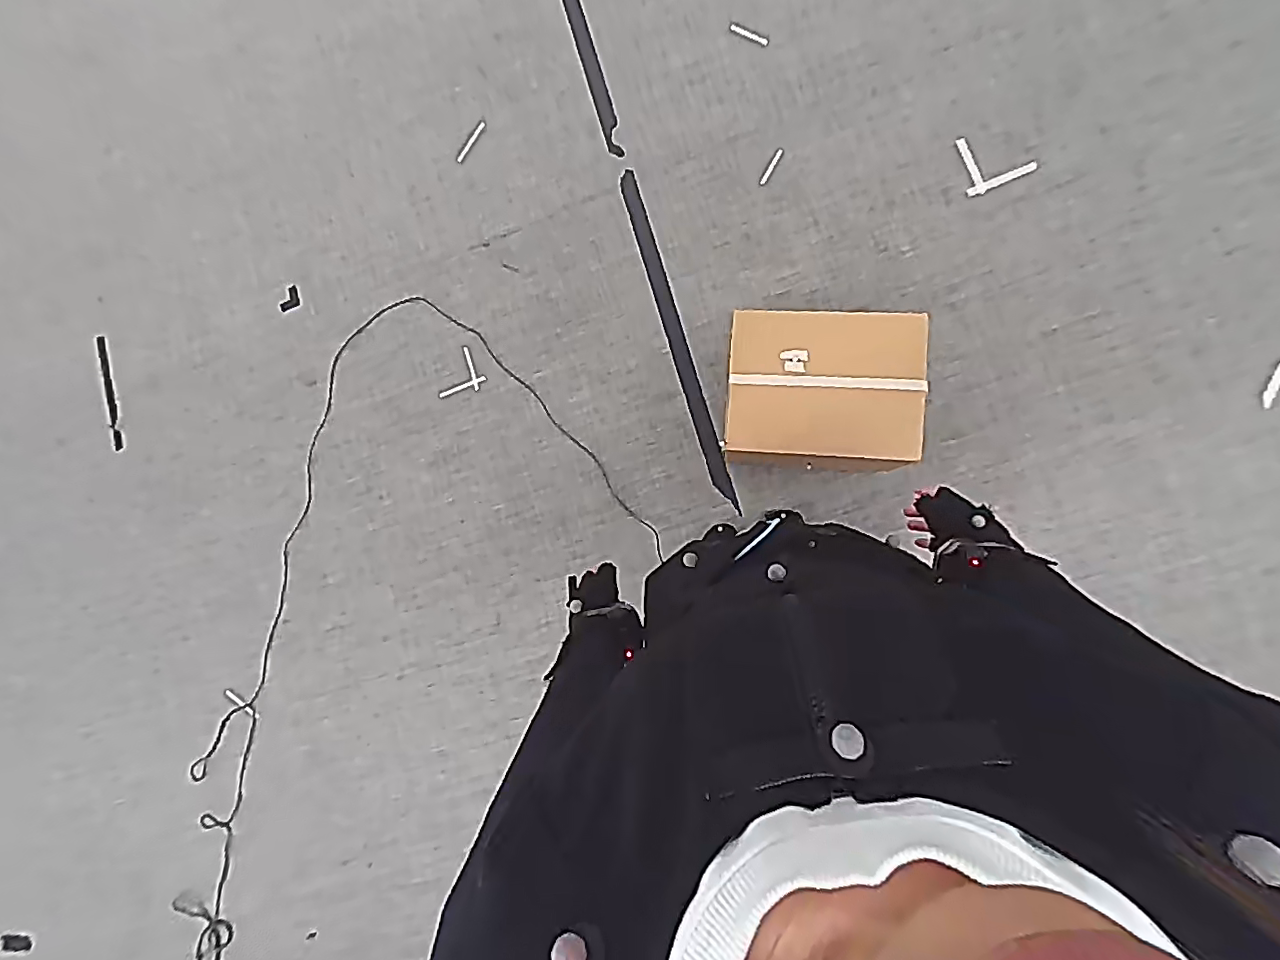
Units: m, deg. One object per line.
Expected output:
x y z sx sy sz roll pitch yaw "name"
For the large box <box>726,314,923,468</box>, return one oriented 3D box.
0.424 -0.198 1.314 0.408 0.320 0.320 4 86 11 "large box"
